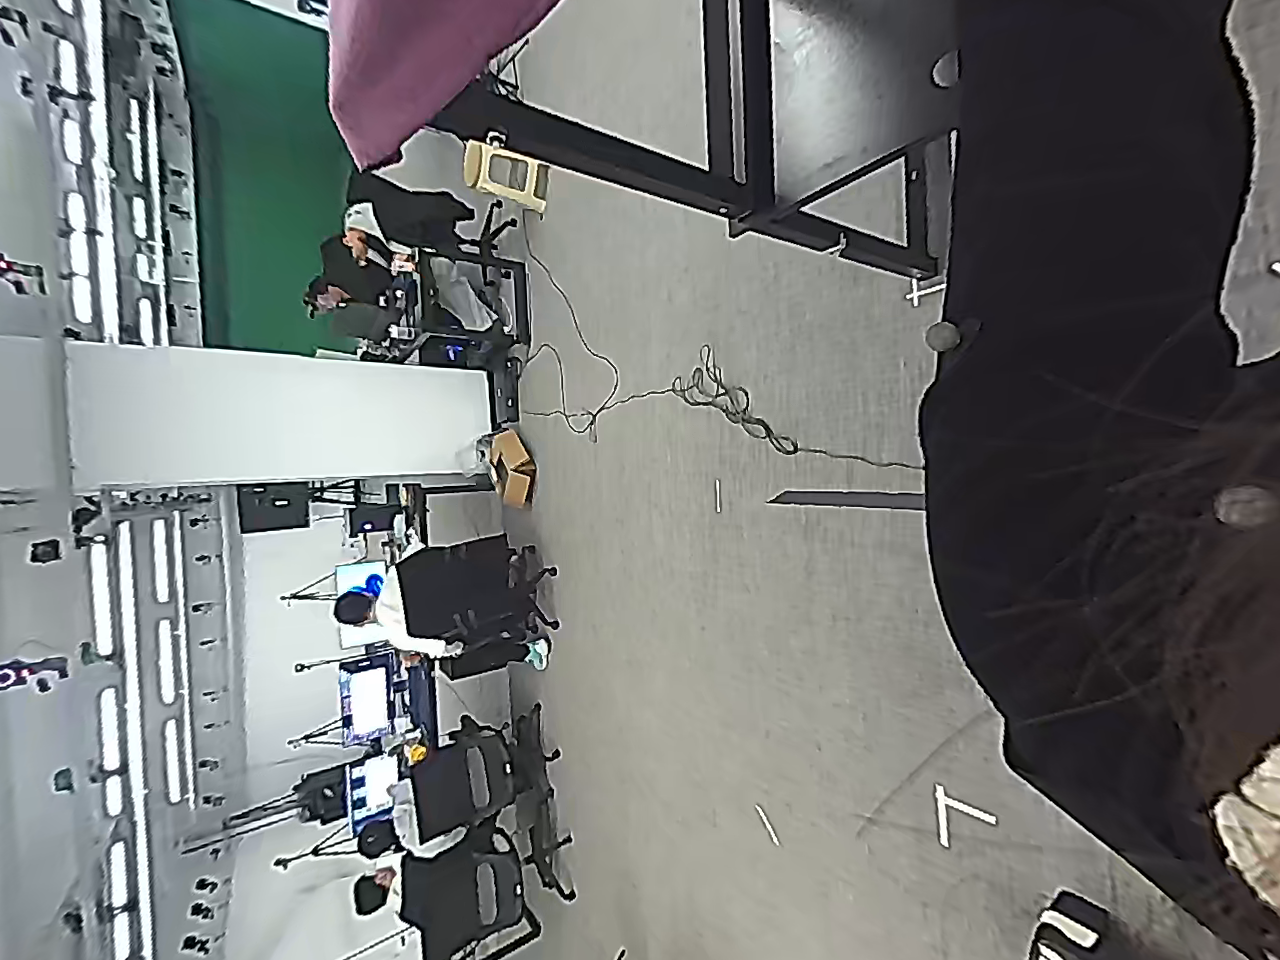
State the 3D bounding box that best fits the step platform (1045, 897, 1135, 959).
[{"bbox_3d":[1.146,1.152,0.980,0.684,0.204,0.286,10,100,54],"label":"step platform"}]
